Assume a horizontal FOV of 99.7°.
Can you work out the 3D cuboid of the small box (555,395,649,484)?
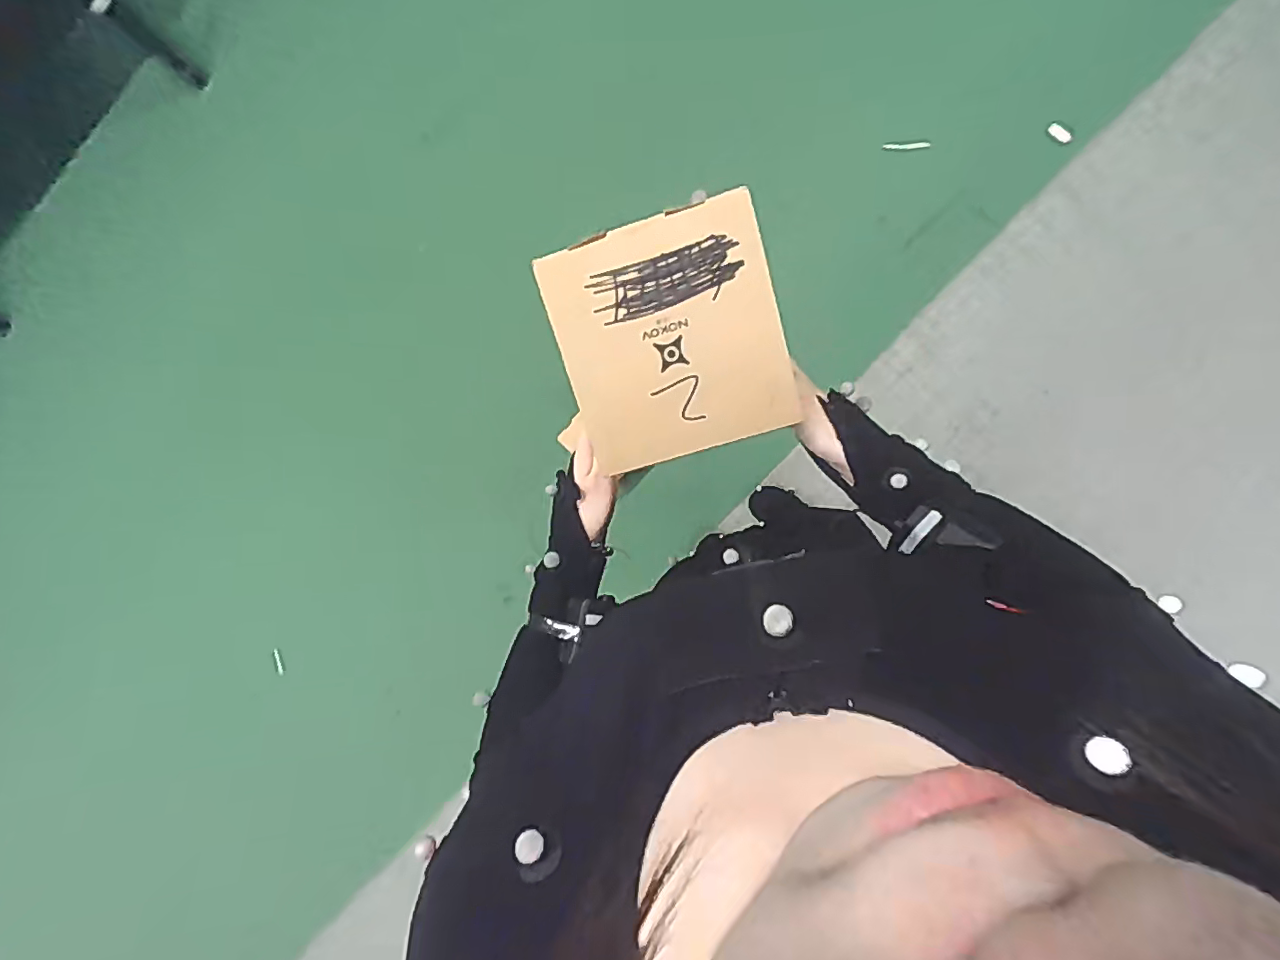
[{"bbox_3d":[-0.096,-0.107,1.481,0.179,0.176,0.168,43,96,9],"label":"small box"}]
